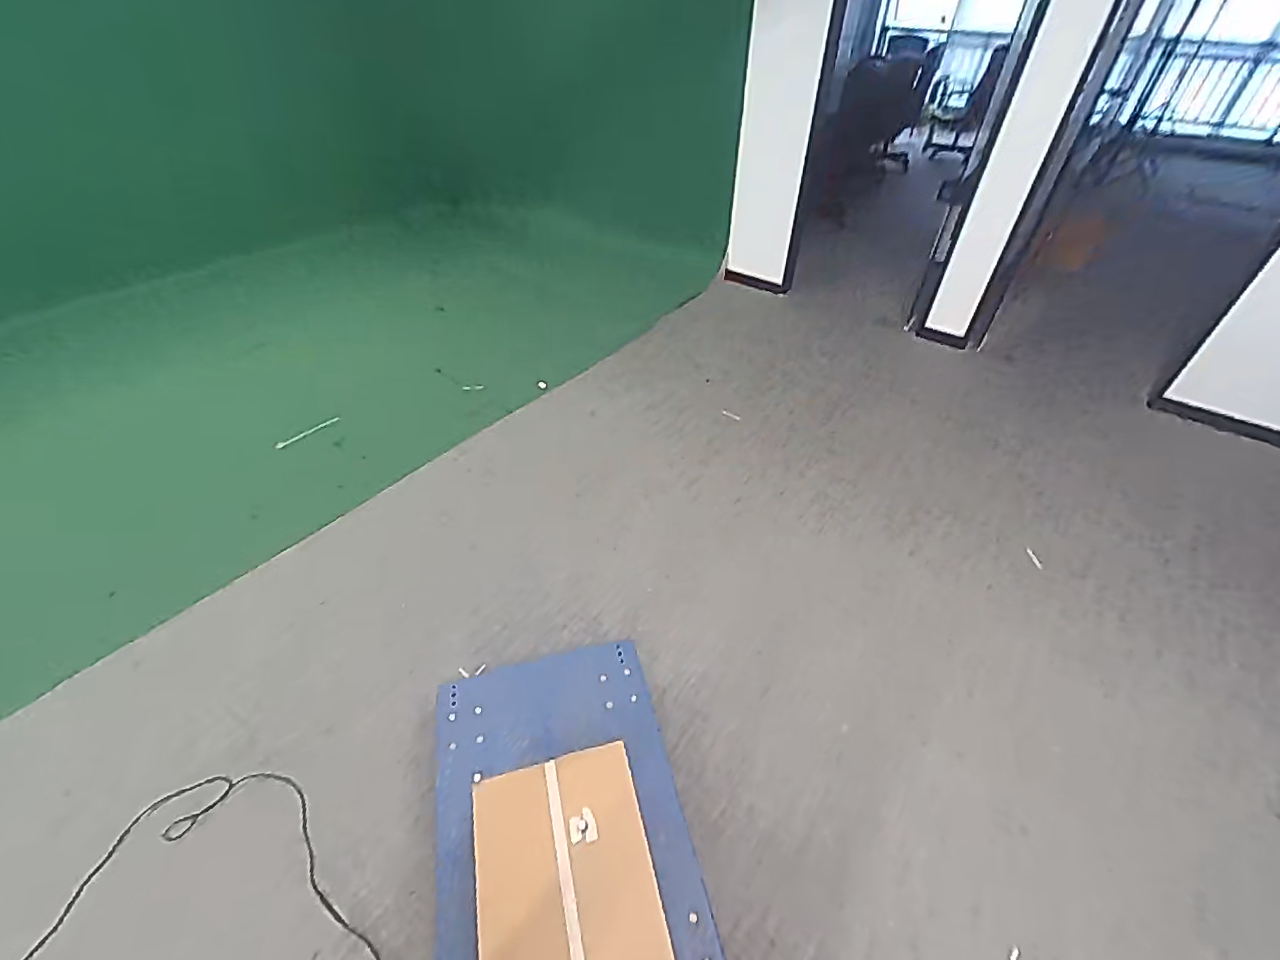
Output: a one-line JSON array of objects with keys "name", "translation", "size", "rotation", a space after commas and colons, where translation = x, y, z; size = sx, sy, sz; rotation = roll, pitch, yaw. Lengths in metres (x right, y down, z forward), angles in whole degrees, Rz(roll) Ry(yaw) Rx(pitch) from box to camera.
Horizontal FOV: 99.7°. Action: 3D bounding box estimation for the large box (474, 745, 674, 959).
[{"name": "large box", "translation": [-0.134, 0.831, 1.085], "size": [0.320, 0.320, 0.408], "rotation": [-10, 43, -11]}]
